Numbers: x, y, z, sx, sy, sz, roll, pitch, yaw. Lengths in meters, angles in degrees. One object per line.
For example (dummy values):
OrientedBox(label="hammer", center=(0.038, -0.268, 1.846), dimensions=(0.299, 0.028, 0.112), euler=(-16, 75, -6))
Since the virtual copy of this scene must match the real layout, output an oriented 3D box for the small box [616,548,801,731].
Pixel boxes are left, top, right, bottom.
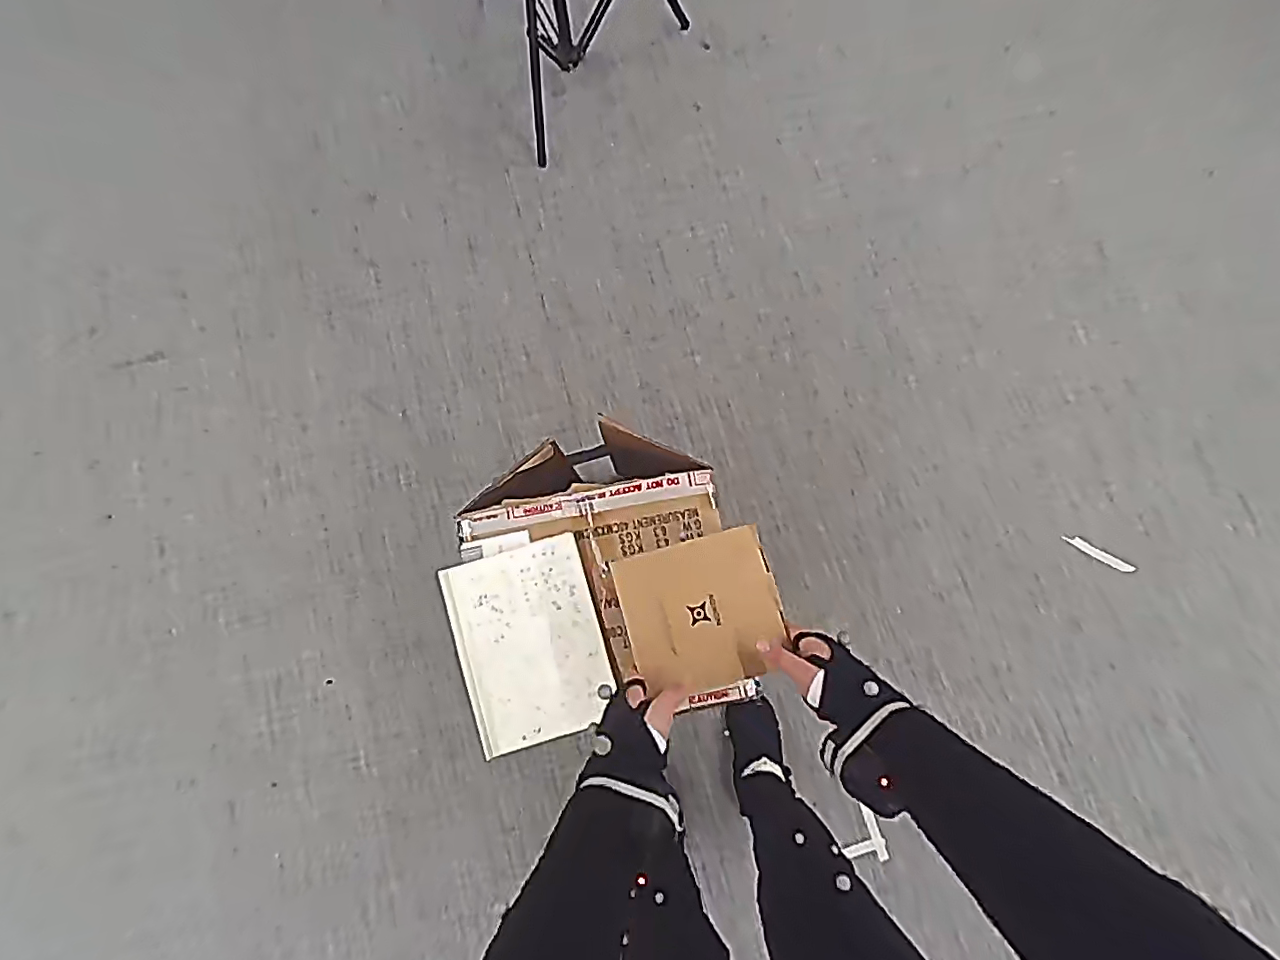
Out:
OrientedBox(label="small box", center=(0.077, 0.189, 0.686), dimensions=(0.179, 0.176, 0.168), euler=(-16, 80, -1))
